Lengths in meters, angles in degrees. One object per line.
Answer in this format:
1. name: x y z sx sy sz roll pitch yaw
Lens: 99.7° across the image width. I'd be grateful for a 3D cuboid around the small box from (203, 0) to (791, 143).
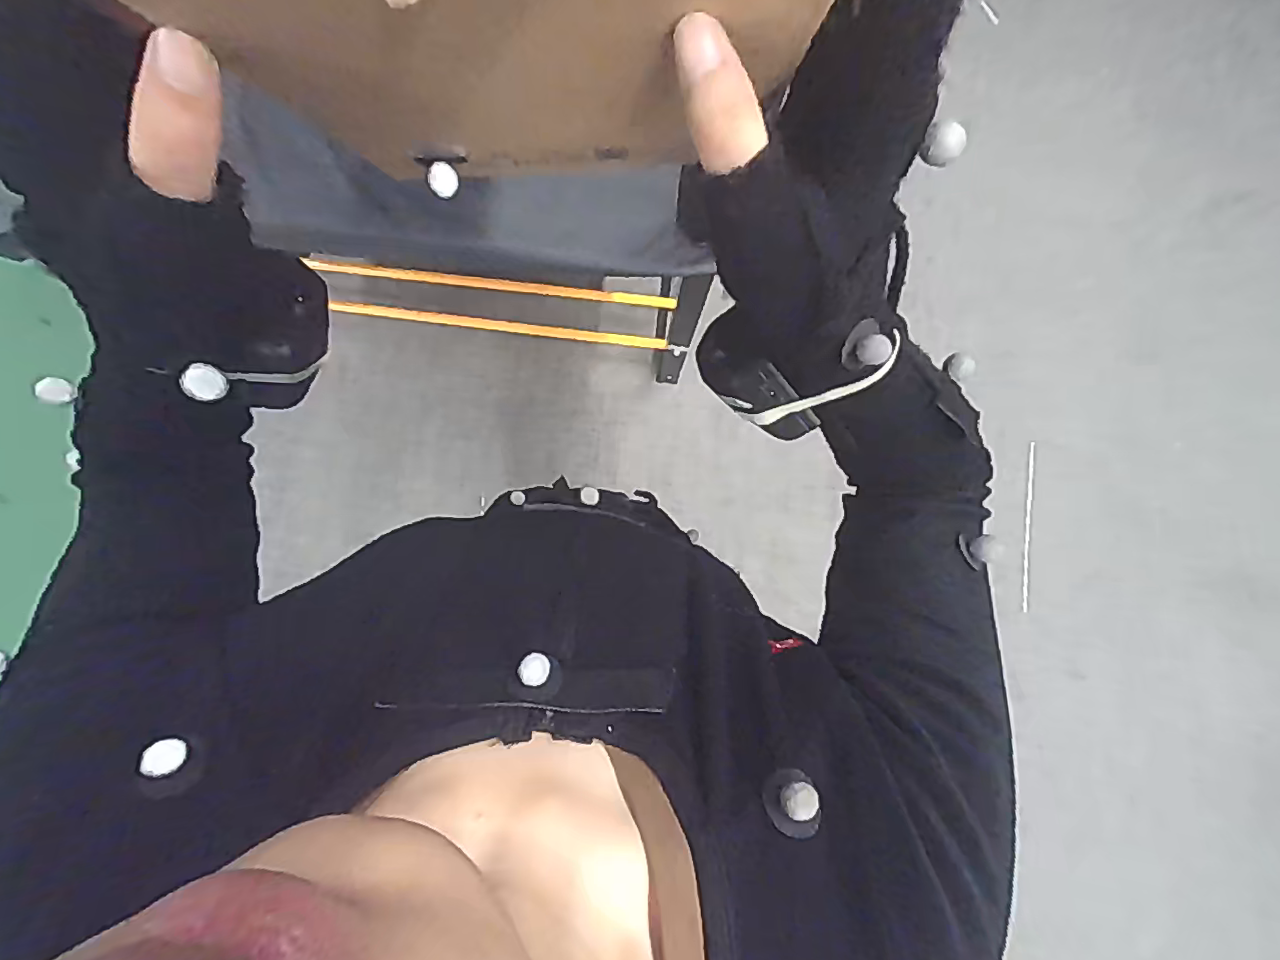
1. small box: -0.038 -0.213 0.147 0.168 0.176 0.179 -3 103 0
